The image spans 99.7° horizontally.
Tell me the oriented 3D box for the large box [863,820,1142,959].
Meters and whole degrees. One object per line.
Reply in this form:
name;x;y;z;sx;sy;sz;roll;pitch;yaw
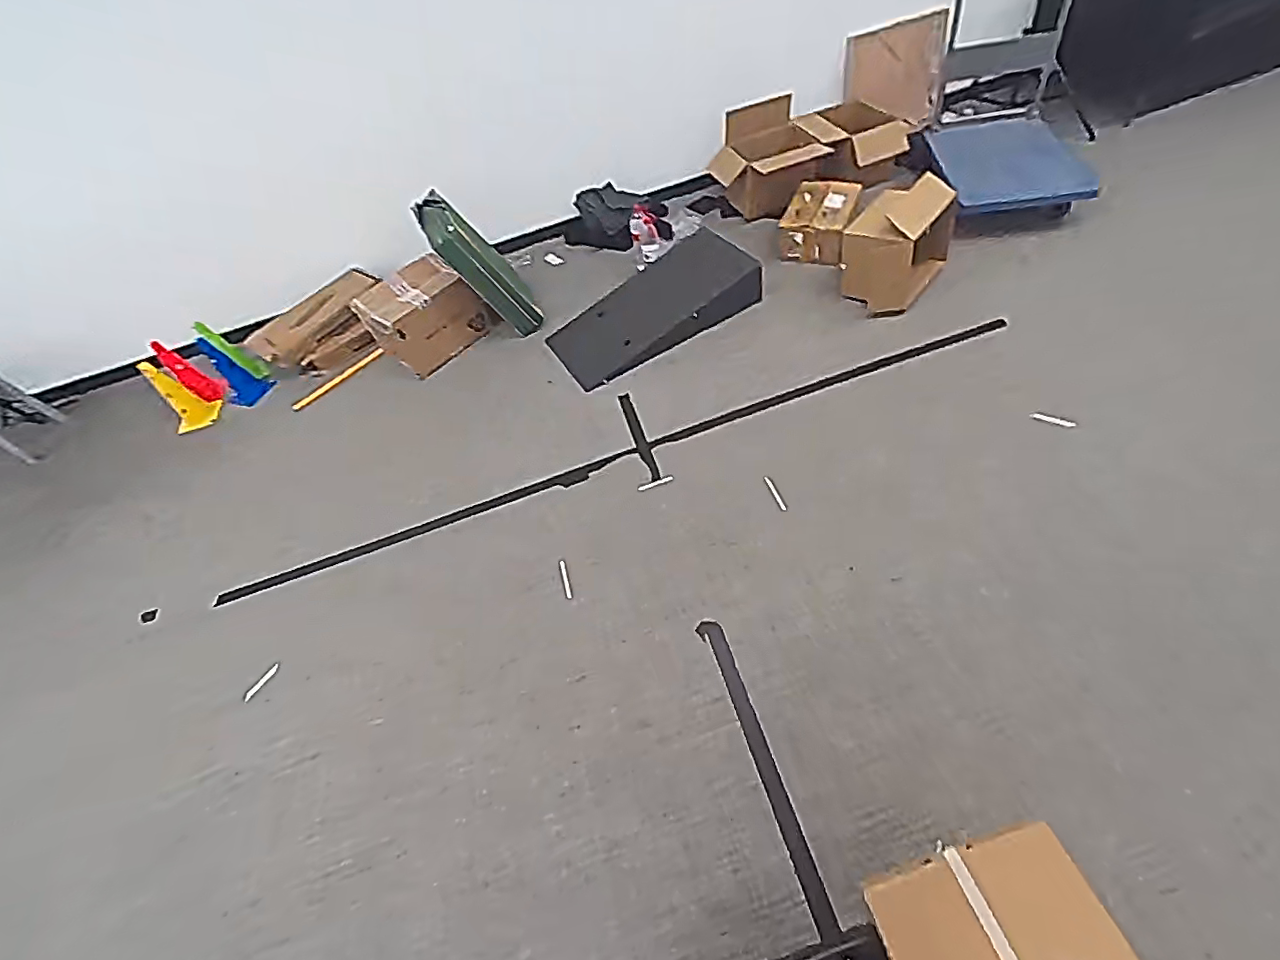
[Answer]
large box;0.609;0.827;0.864;0.320;0.320;0.408;-24;52;4
